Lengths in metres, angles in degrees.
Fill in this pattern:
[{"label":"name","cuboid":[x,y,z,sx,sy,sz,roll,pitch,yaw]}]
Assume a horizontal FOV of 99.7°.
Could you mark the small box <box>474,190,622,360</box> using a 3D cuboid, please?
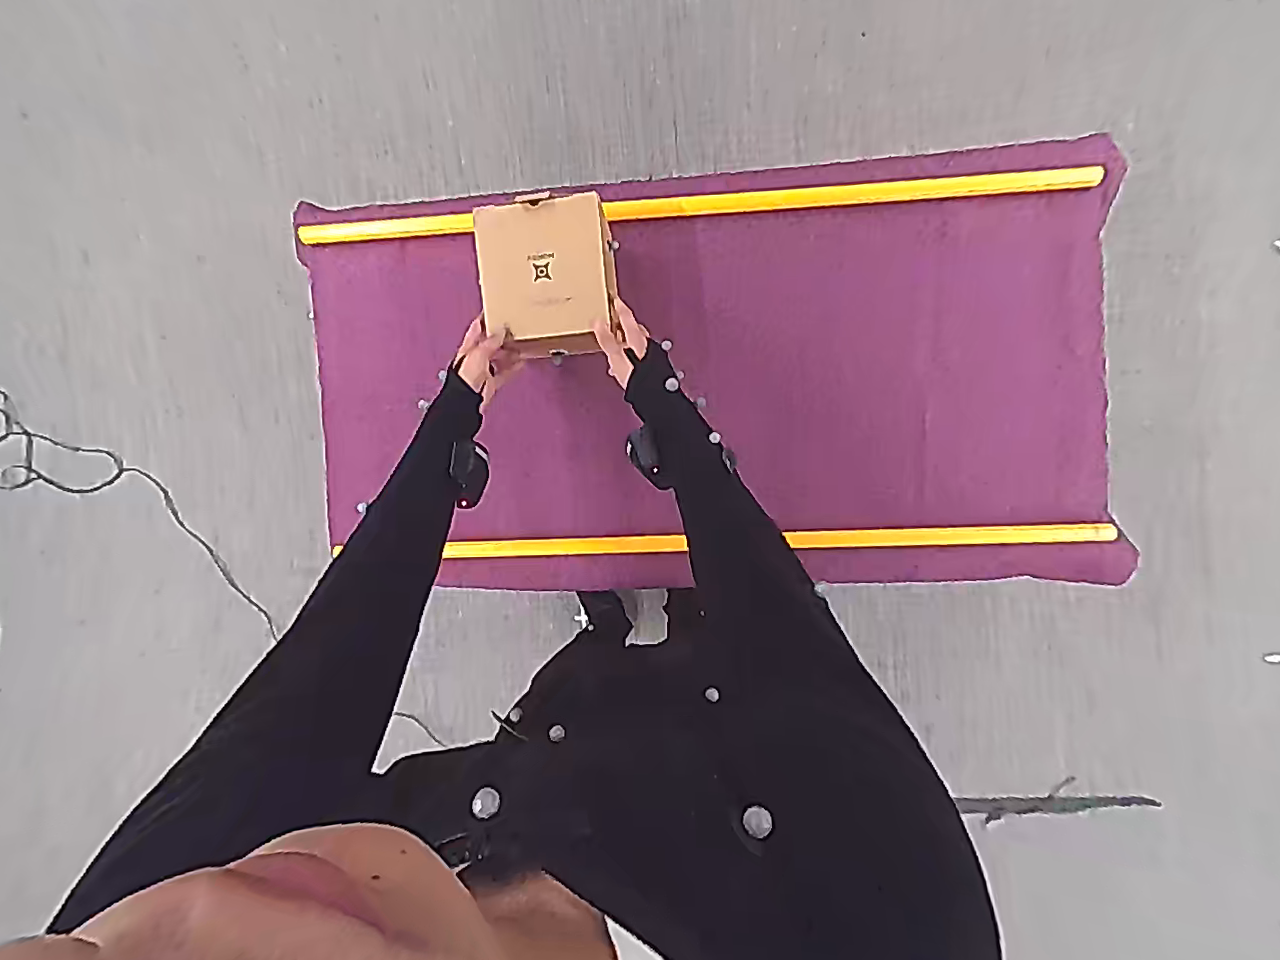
[{"label":"small box","cuboid":[-0.120,-0.279,0.770,0.168,0.176,0.179,-6,94,4]}]
